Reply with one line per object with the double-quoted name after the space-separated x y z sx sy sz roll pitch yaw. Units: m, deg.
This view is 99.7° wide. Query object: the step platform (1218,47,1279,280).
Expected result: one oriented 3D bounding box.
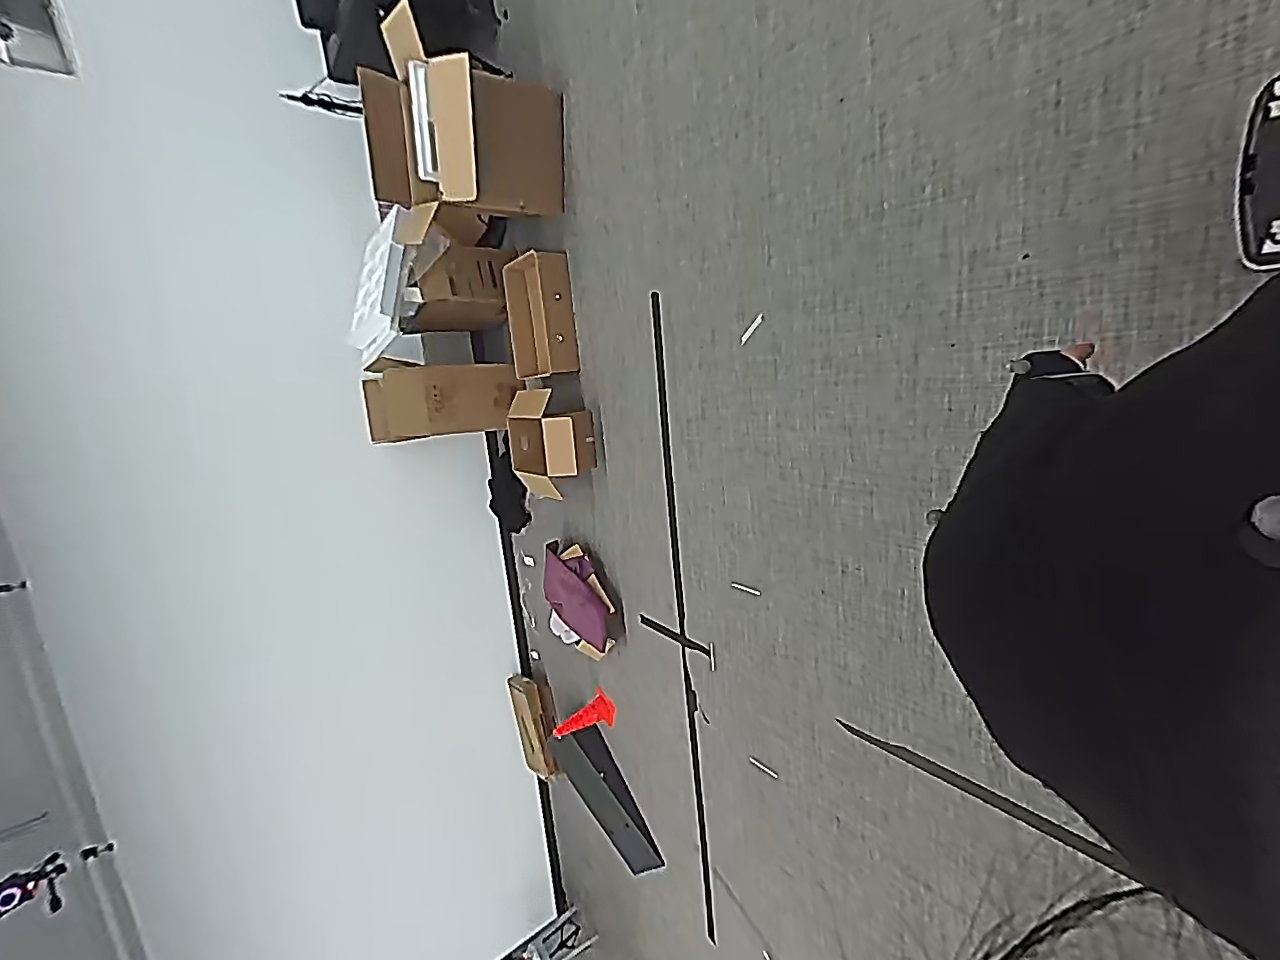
1.067 -0.408 0.518 0.684 0.204 0.286 6 106 52 "step platform"
